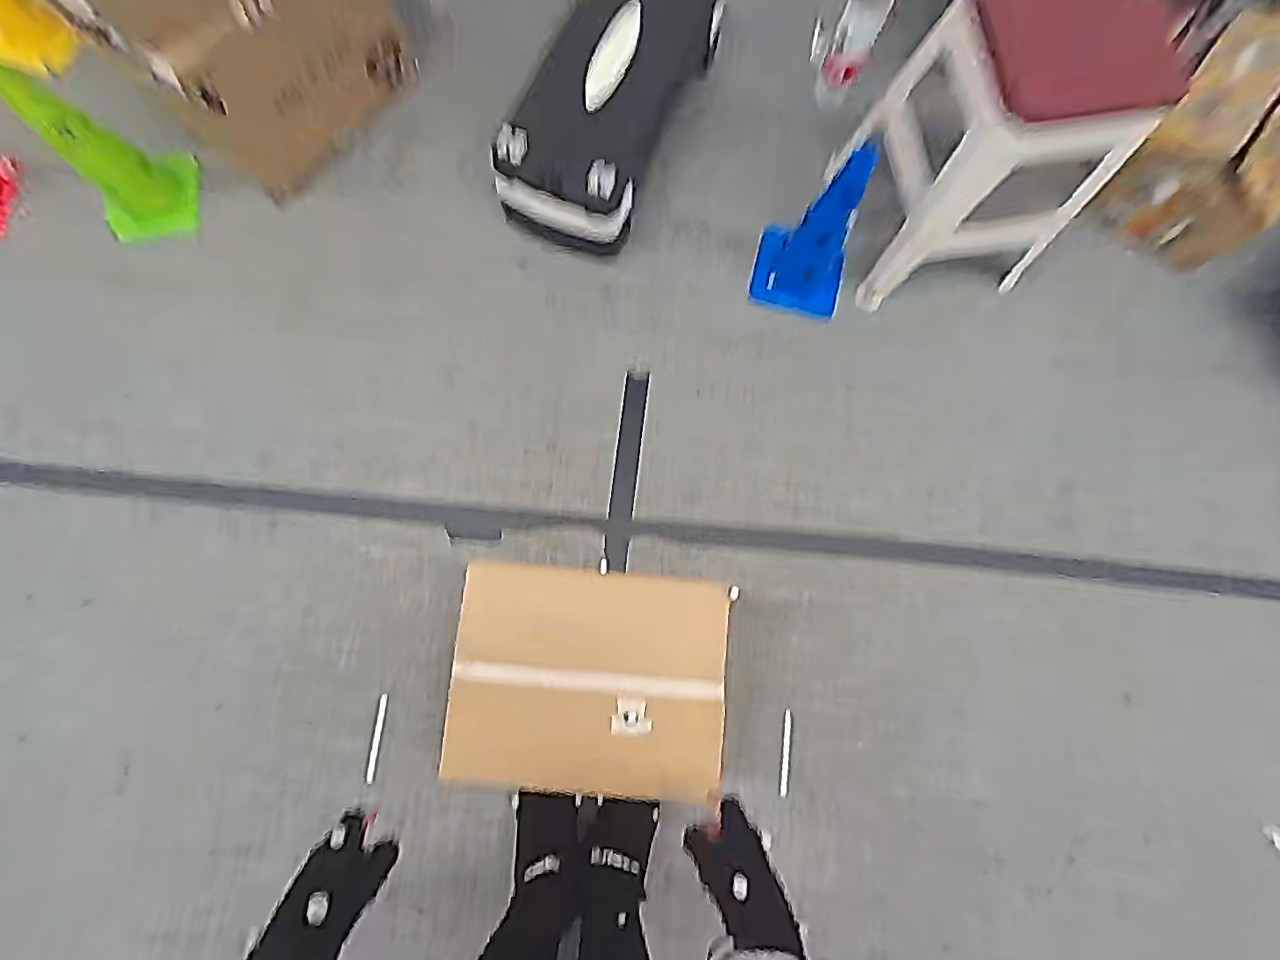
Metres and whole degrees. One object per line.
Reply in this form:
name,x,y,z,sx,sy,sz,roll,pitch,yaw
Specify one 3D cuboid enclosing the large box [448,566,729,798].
large box,-0.079,0.328,0.955,0.408,0.320,0.320,6,80,-2
